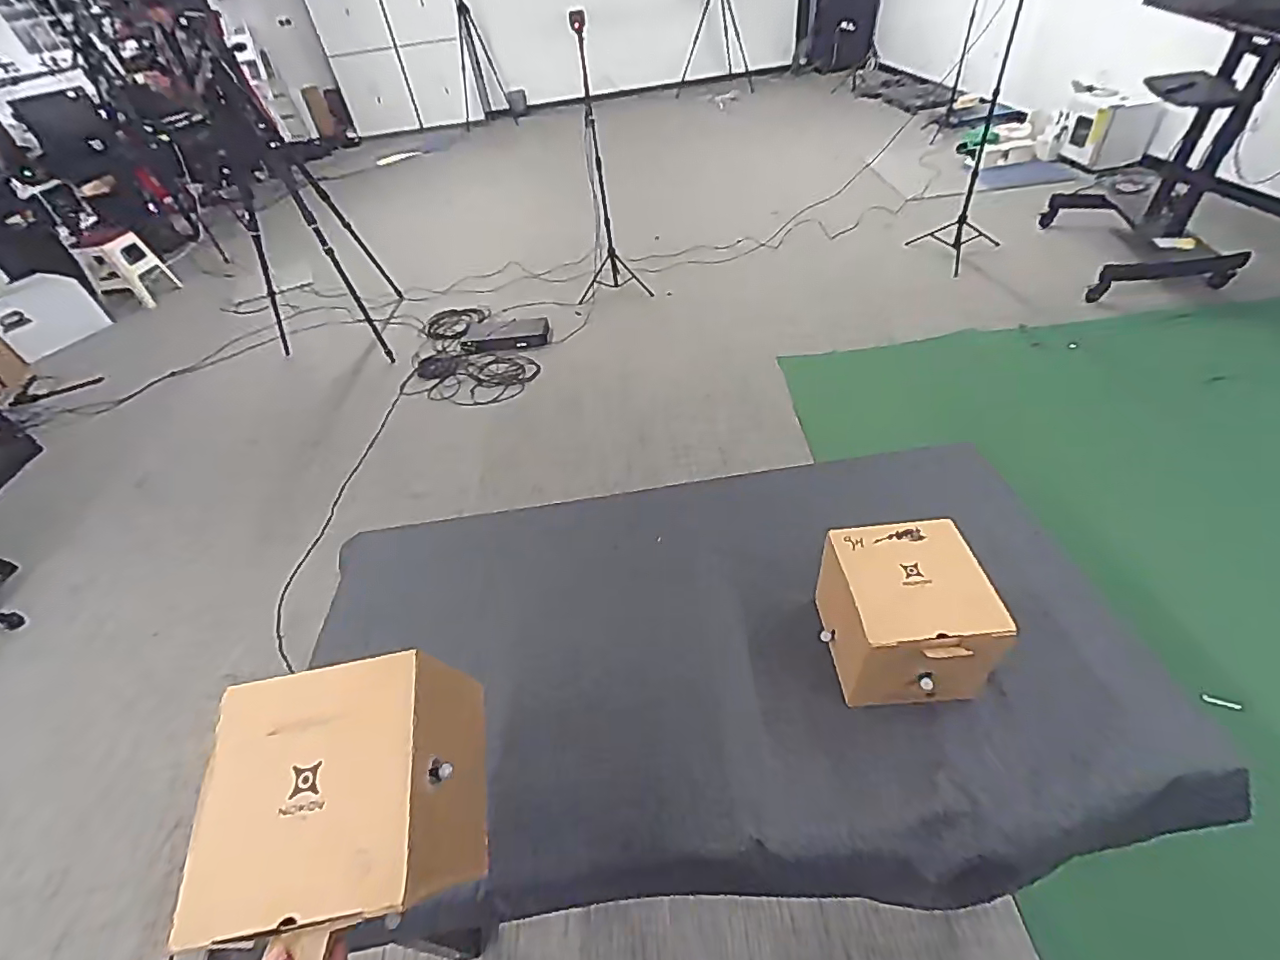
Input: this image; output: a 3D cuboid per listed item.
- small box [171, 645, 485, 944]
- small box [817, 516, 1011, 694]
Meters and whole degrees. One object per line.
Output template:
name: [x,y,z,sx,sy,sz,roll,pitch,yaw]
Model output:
small box: [-0.242,0.263,0.474,0.168,0.176,0.179,-11,59,-1]
small box: [0.347,0.173,0.726,0.168,0.176,0.179,-5,45,3]
